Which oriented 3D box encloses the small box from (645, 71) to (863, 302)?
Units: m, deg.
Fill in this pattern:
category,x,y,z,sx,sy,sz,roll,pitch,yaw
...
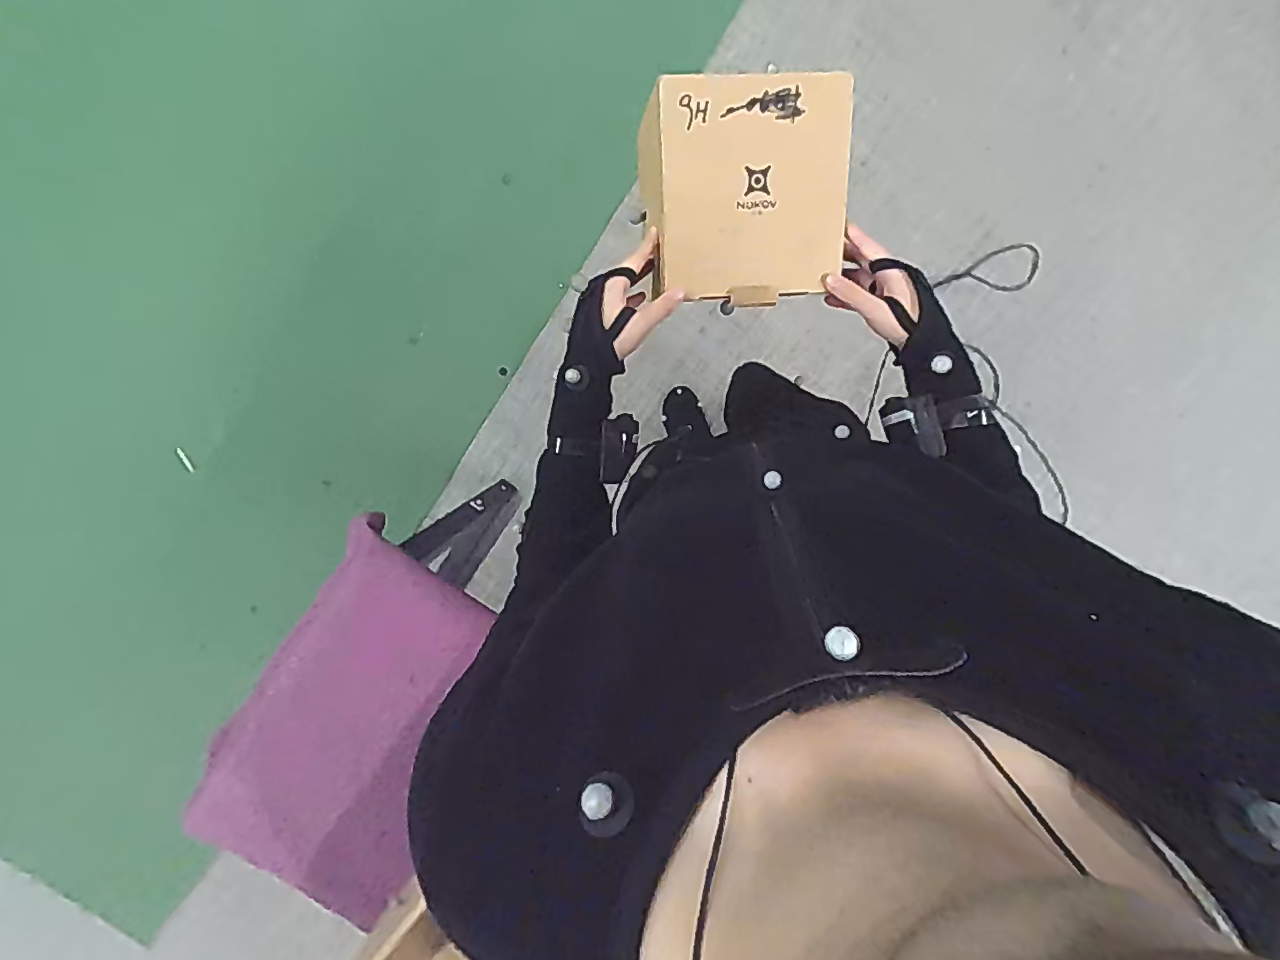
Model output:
category,x,y,z,sx,sy,sz,roll,pitch,yaw
small box,0.096,-0.275,0.539,0.168,0.176,0.179,-4,110,-5
